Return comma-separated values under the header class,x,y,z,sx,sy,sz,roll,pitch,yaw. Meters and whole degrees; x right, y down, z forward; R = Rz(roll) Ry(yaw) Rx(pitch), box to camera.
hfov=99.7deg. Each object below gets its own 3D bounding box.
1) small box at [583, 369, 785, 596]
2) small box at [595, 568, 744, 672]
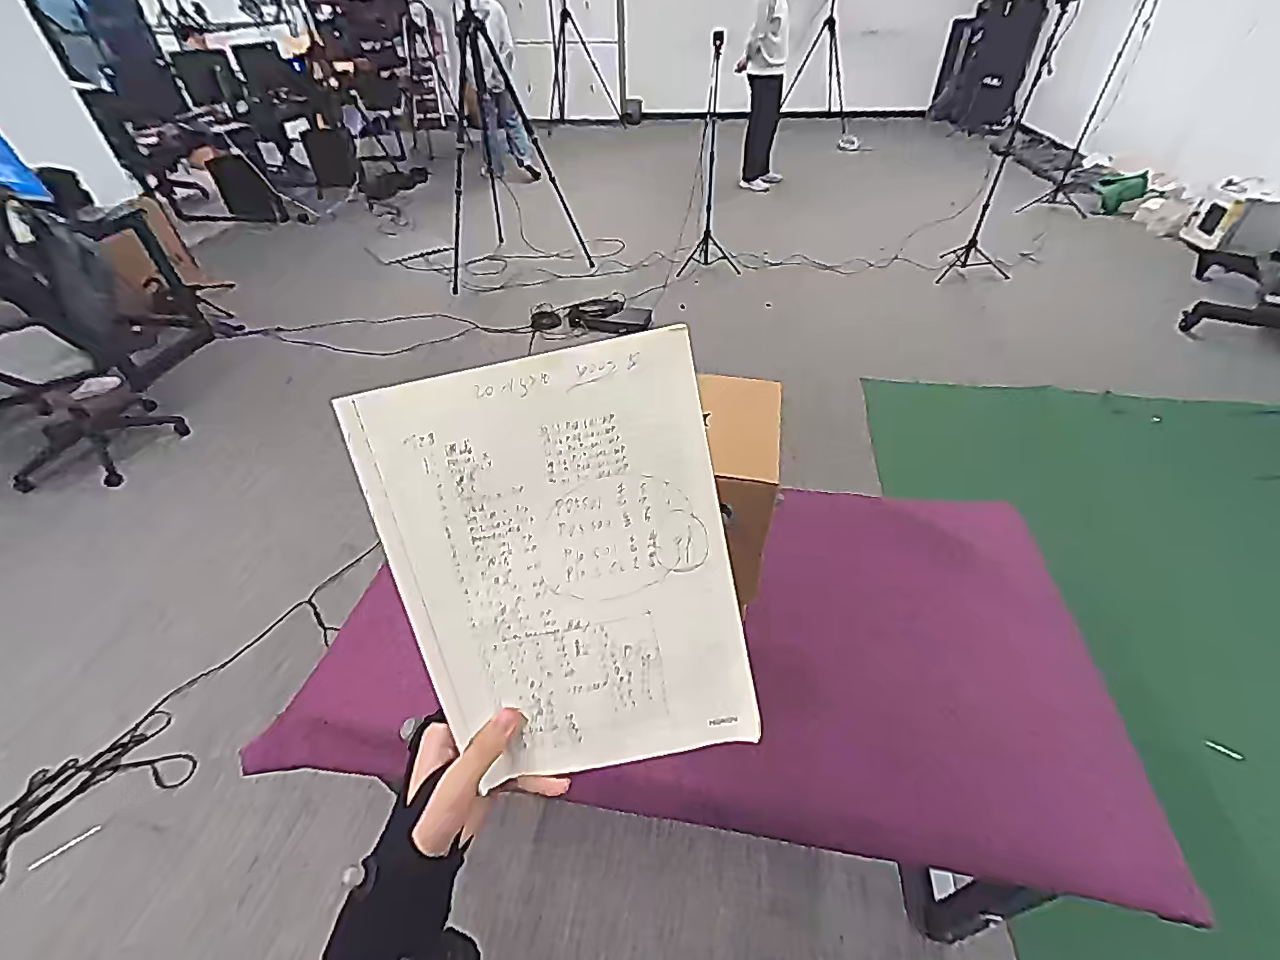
class,x,y,z,sx,sy,sz,roll,pitch,yaw
small box,0.051,0.002,0.576,0.179,0.176,0.168,7,41,10
small box,0.047,0.121,0.692,0.168,0.176,0.179,6,41,8
